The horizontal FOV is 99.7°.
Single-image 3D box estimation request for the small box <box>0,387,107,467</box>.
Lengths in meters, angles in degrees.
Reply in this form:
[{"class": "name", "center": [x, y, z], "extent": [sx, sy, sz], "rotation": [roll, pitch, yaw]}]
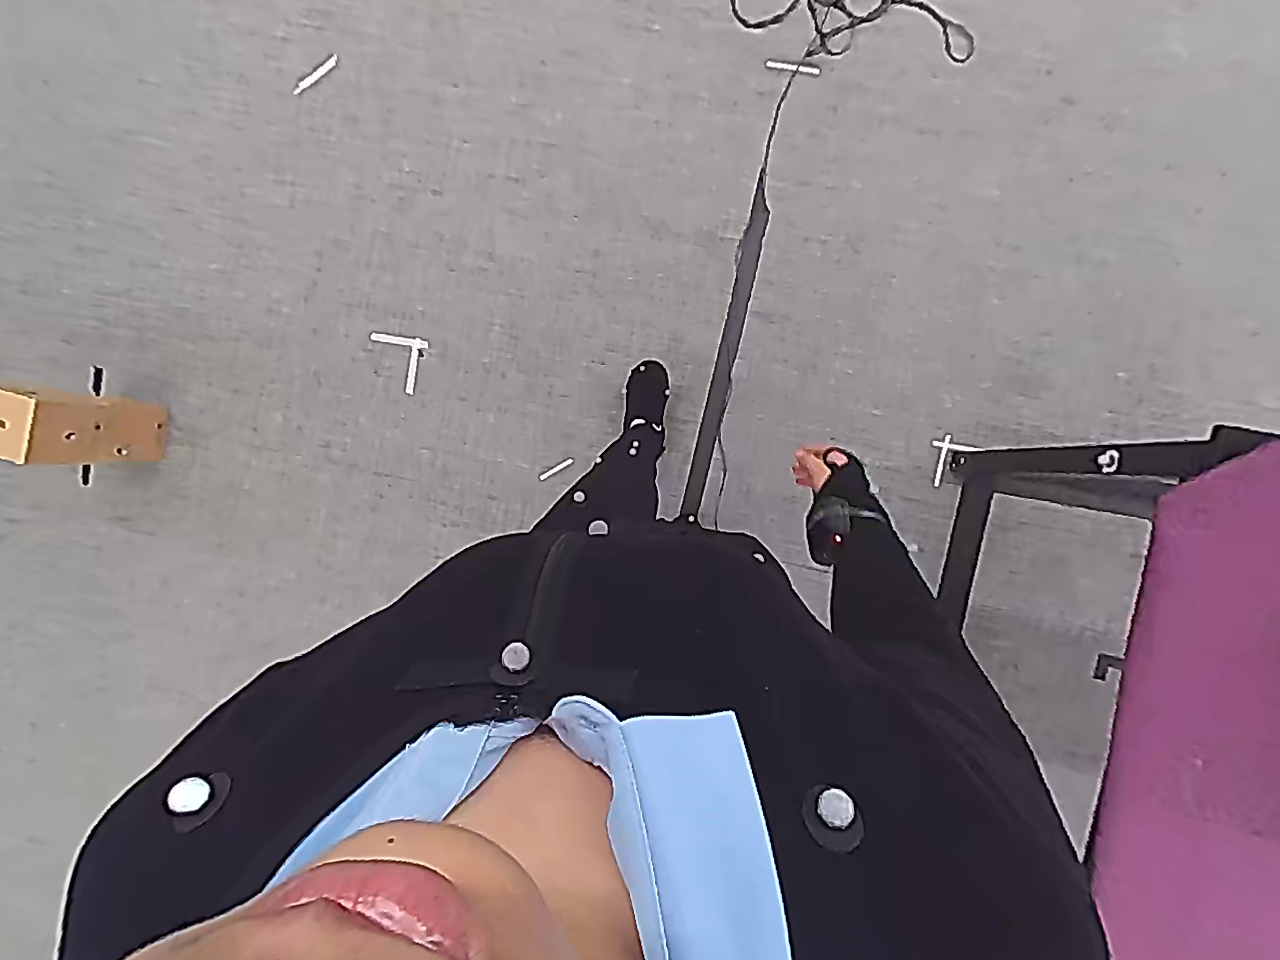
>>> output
[{"class": "small box", "center": [-1.545, -0.137, 1.393], "extent": [0.179, 0.176, 0.168], "rotation": [17, 94, 6]}]
